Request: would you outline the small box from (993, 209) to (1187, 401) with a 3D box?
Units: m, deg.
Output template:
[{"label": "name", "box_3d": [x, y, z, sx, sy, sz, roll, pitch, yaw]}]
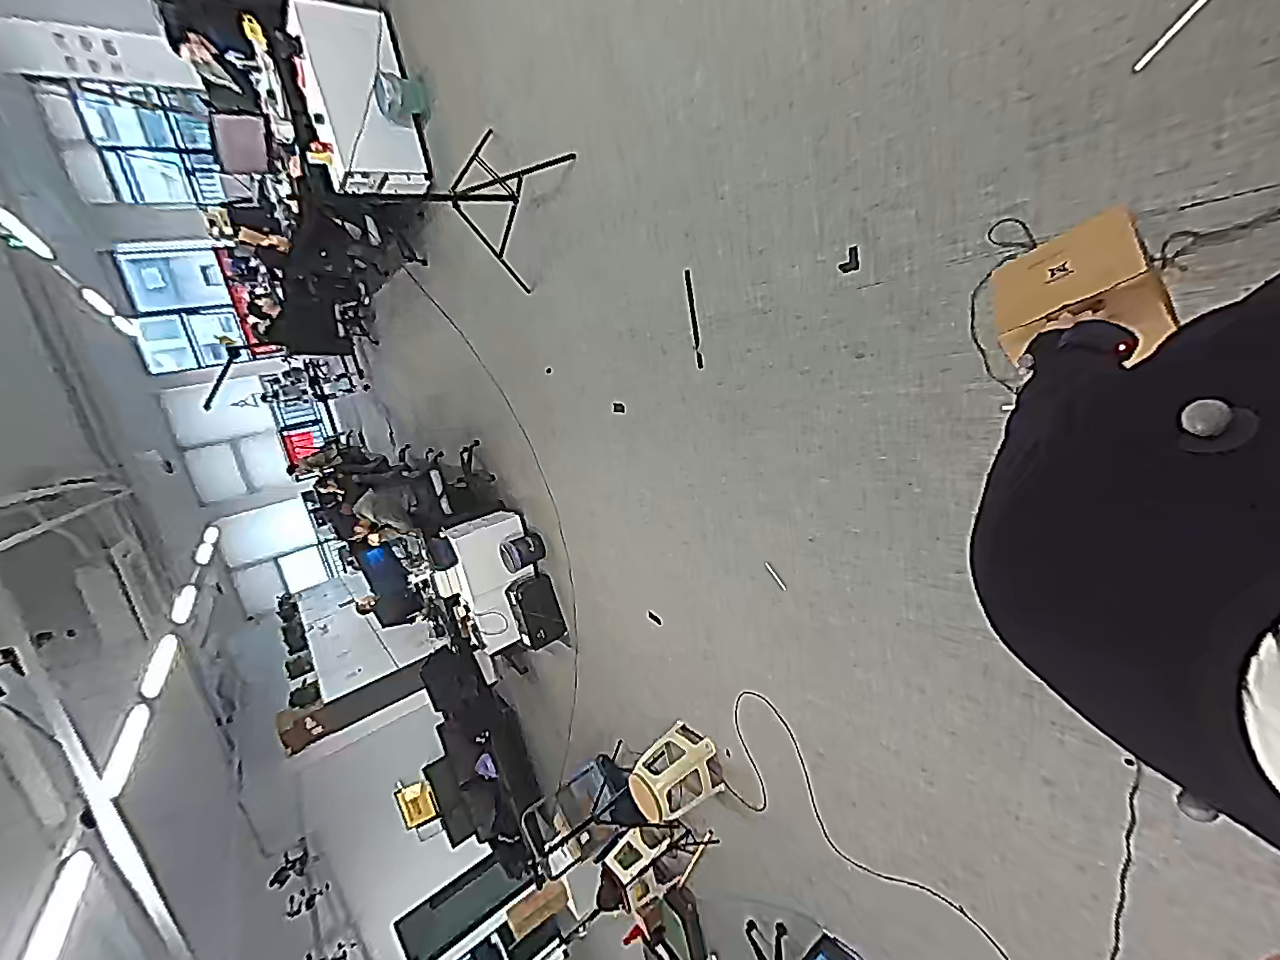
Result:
[{"label": "small box", "box_3d": [0.635, -0.235, 0.774, 0.176, 0.179, 0.168, 41, 142, -21]}]
